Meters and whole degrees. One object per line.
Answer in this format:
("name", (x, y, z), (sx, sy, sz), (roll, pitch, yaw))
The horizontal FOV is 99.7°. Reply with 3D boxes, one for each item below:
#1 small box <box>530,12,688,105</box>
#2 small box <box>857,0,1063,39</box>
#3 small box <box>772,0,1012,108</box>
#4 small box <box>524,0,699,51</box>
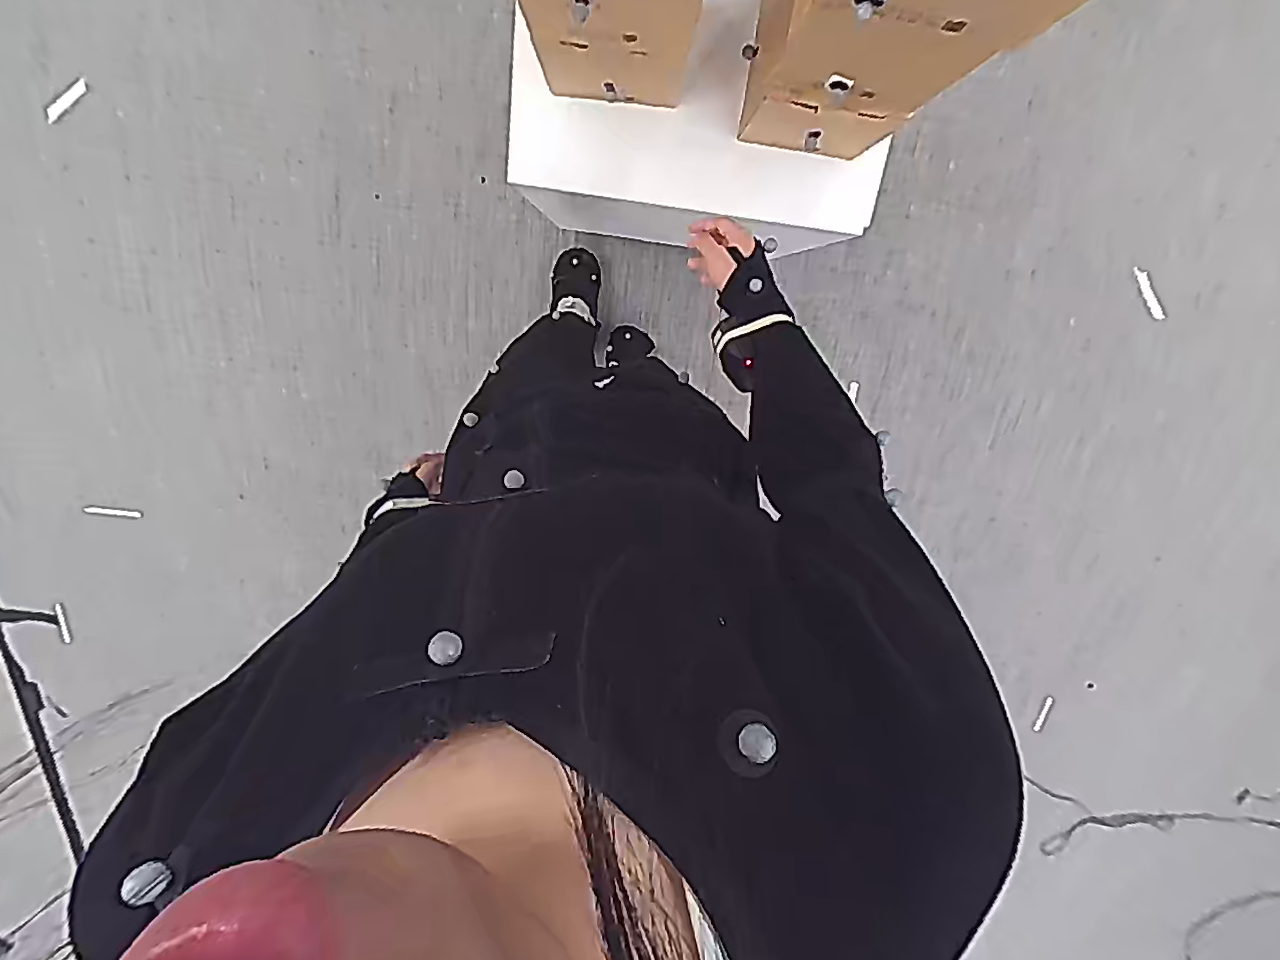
("small box", (-0.026, -0.558, 0.607), (0.168, 0.176, 0.179), (5, 109, -3))
("small box", (0.228, -0.408, 0.317), (0.168, 0.176, 0.179), (10, 107, -3))
("small box", (0.226, -0.463, 0.472), (0.168, 0.176, 0.179), (8, 109, -2))
("small box", (-0.020, -0.502, 0.454), (0.168, 0.176, 0.179), (5, 108, -3))
